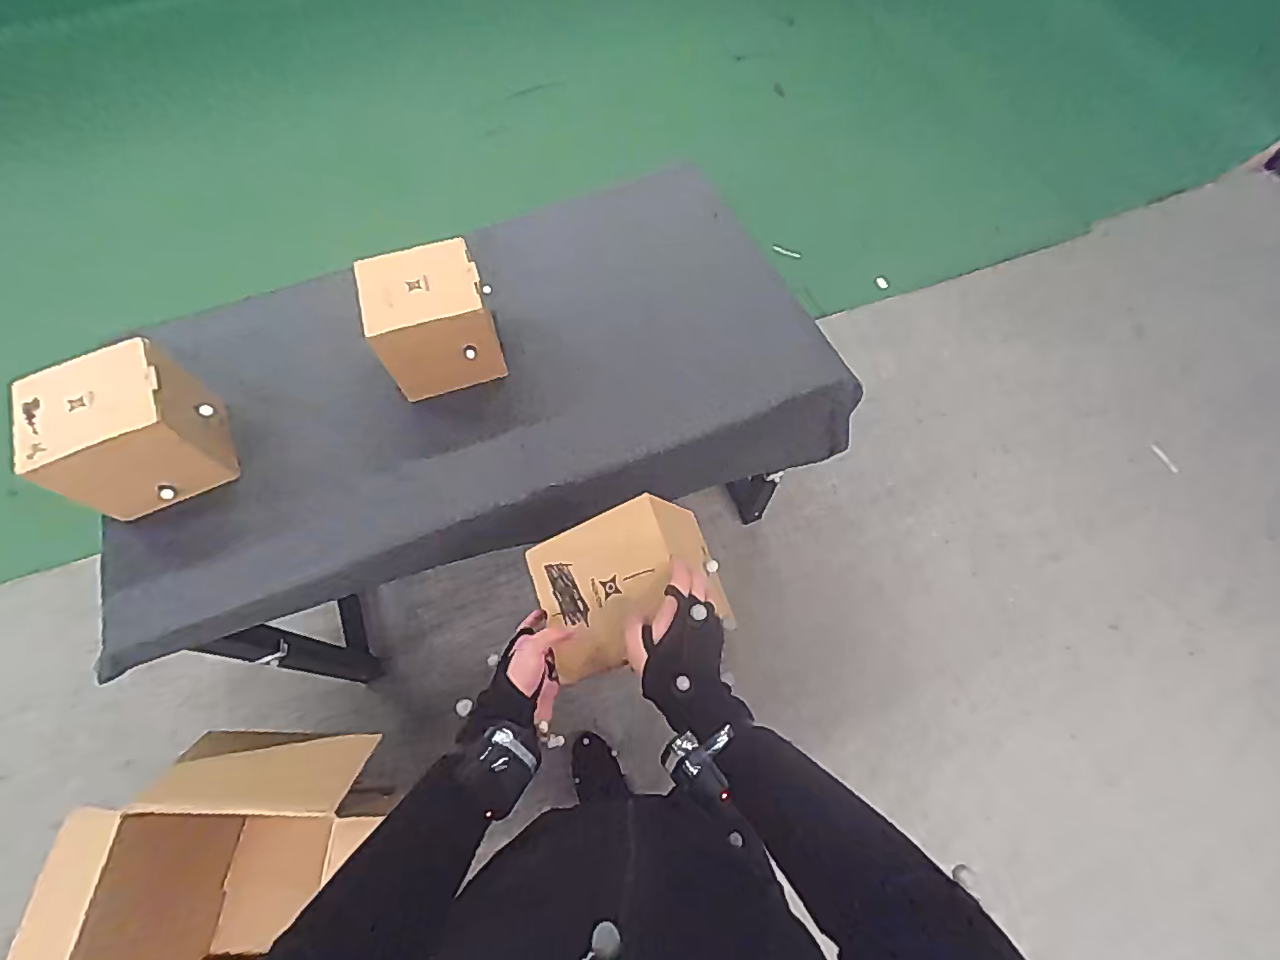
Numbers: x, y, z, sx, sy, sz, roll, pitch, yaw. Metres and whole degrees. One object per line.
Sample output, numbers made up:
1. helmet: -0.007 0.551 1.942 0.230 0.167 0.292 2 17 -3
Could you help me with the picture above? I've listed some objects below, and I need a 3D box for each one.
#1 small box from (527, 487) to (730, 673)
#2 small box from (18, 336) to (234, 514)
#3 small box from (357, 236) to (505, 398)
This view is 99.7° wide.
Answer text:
1. small box: -0.009 0.128 0.680 0.179 0.176 0.168 -25 71 17
2. small box: -0.747 -0.076 0.807 0.179 0.176 0.168 -25 66 -12
3. small box: -0.335 -0.264 0.897 0.179 0.176 0.168 -18 64 -7
